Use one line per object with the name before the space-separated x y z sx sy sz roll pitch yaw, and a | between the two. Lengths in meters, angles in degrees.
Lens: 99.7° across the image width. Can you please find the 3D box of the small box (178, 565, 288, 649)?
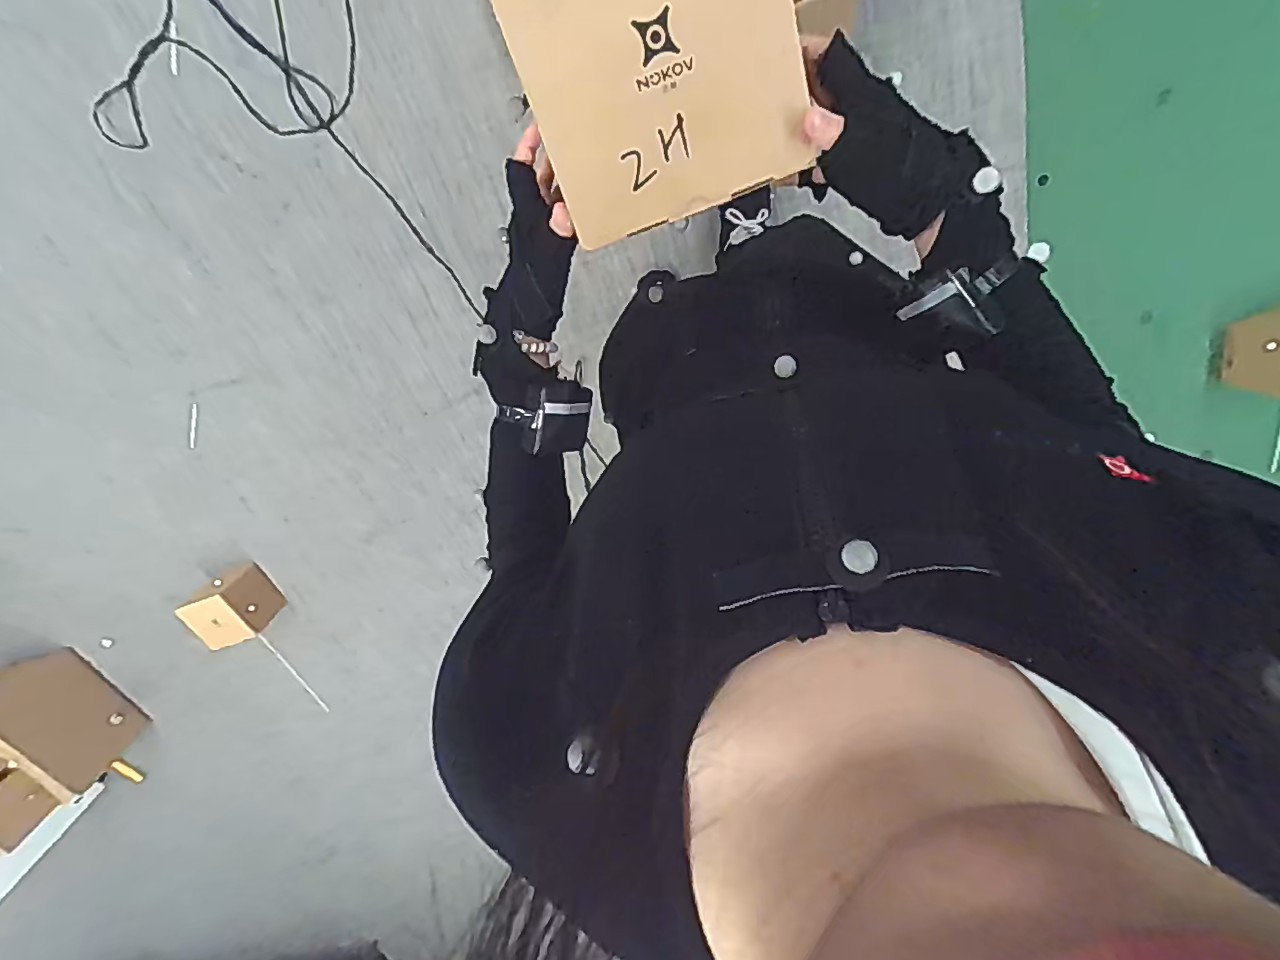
small box | -1.258 0.387 1.687 0.168 0.176 0.179 -19 116 9

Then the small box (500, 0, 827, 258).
small box | 0.010 -0.277 0.384 0.168 0.176 0.179 -19 117 5
